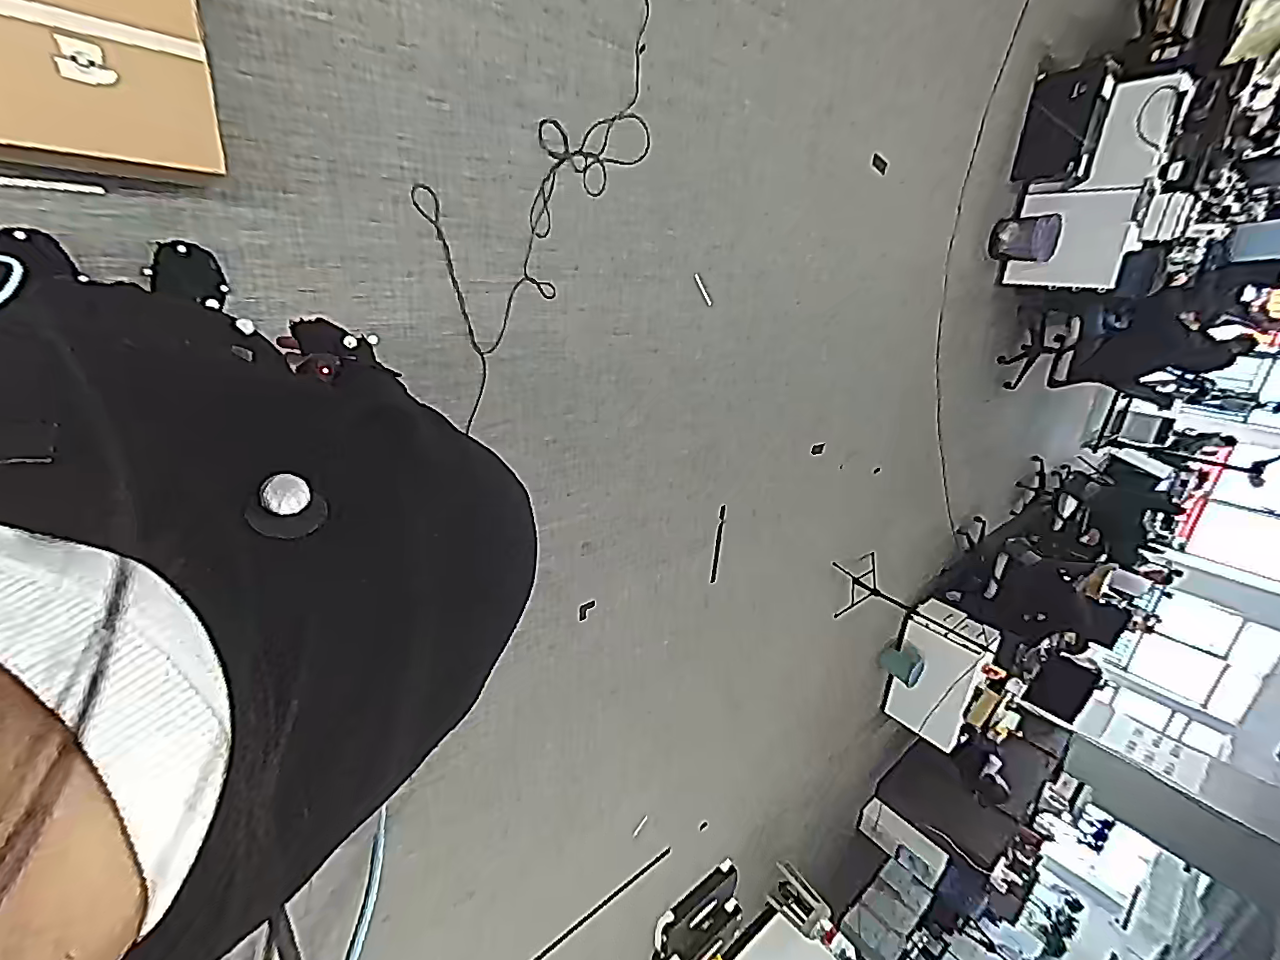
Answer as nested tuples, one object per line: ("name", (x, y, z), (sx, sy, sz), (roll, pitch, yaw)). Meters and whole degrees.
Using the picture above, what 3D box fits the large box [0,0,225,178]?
("large box", (-0.887, -0.645, 0.775), (0.408, 0.320, 0.320), (-13, 118, -38))
